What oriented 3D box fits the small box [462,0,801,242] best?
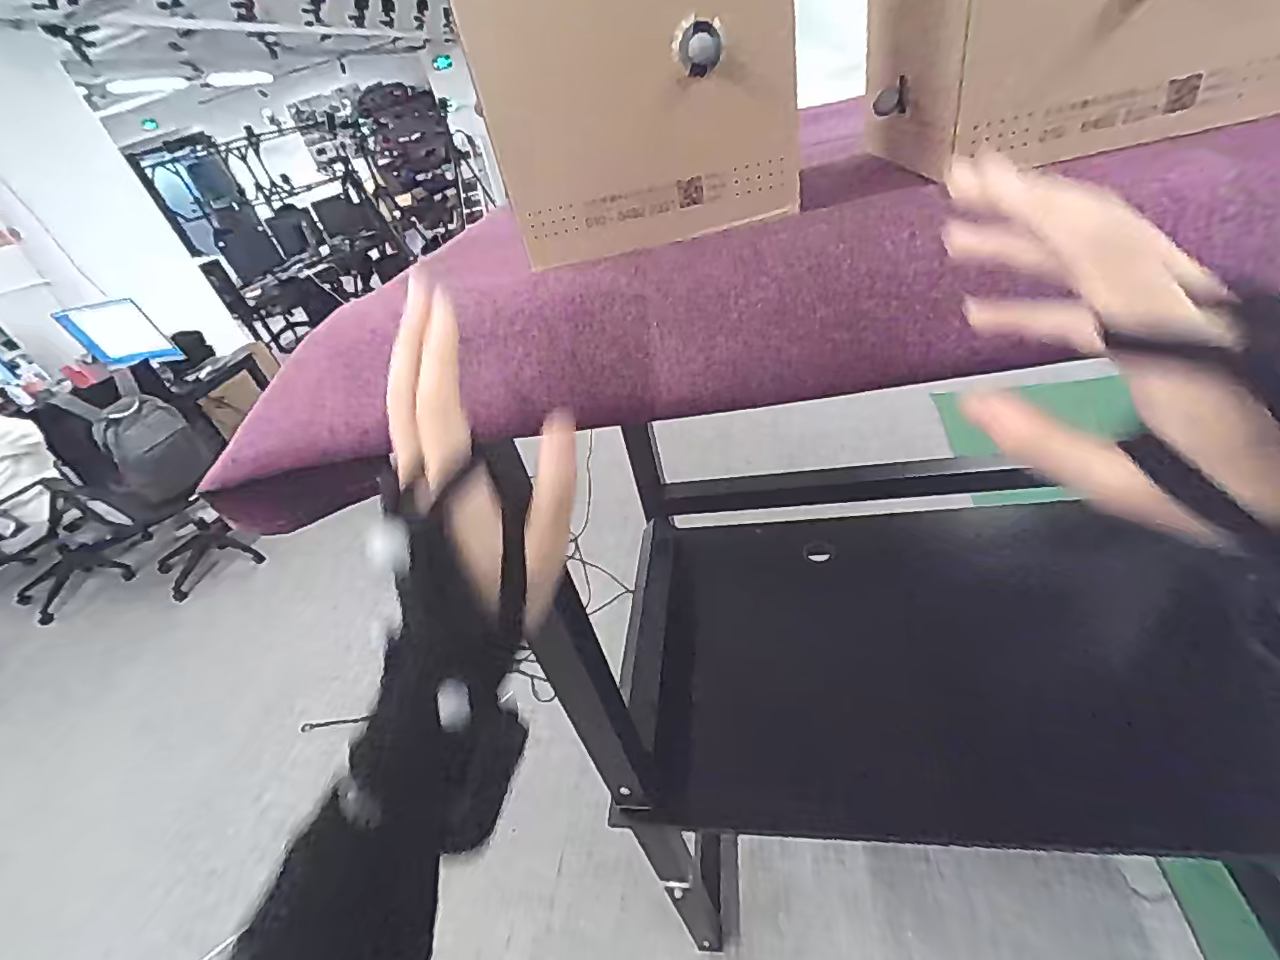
[{"bbox_3d":[0.003,-0.263,0.342,0.168,0.176,0.179,-8,35,8],"label":"small box"}]

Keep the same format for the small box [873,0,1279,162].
[{"bbox_3d":[0.238,-0.291,0.297,0.168,0.176,0.179,-7,36,9],"label":"small box"}]
